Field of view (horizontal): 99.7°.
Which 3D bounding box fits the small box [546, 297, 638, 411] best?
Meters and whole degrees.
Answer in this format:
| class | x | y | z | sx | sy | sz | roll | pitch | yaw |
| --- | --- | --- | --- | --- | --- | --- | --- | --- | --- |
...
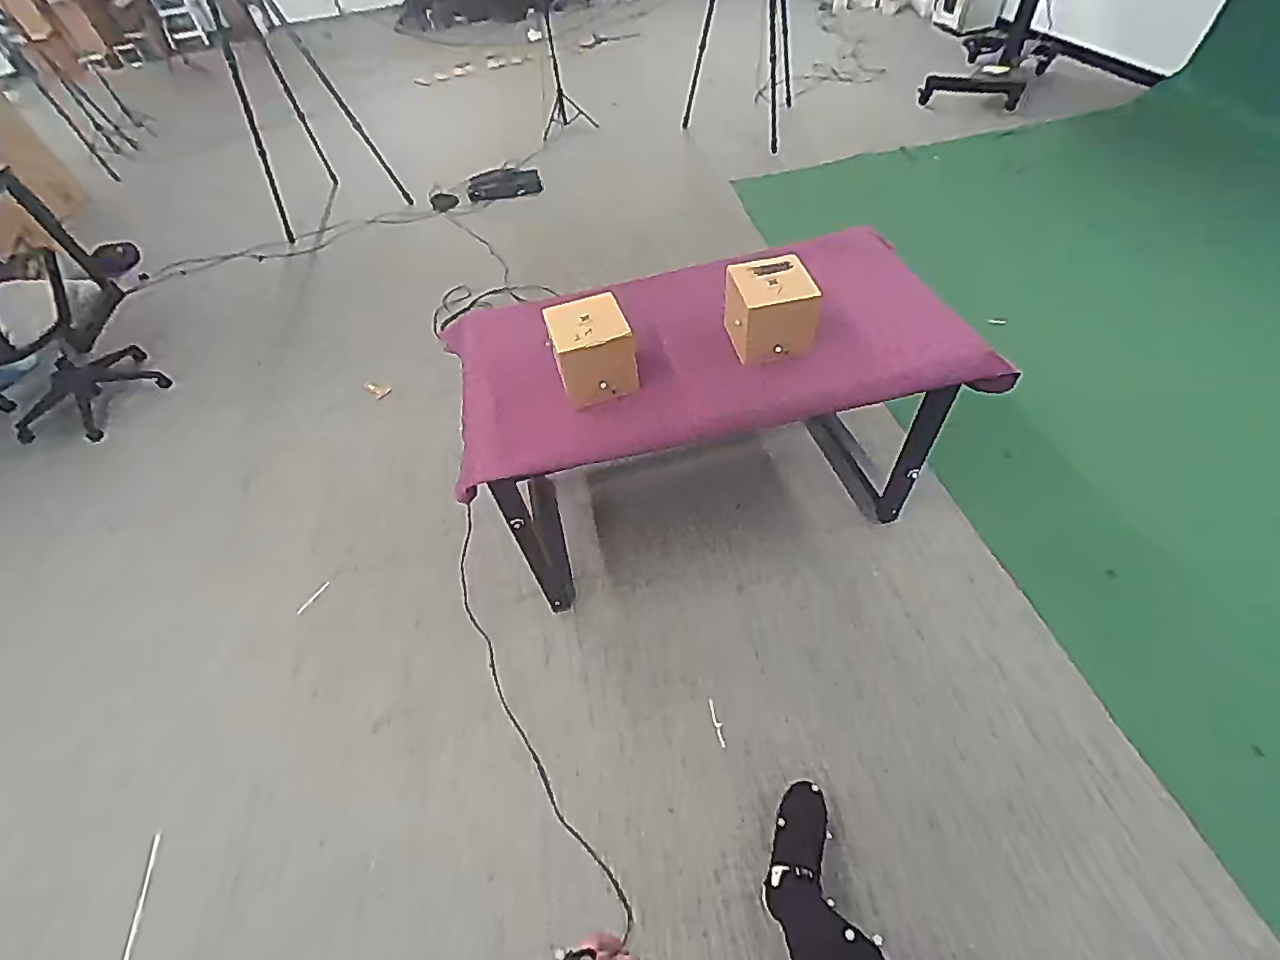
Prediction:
| class | x | y | z | sx | sy | sz | roll | pitch | yaw |
| --- | --- | --- | --- | --- | --- | --- | --- | --- | --- |
| small box | -0.108 | -0.288 | 1.244 | 0.168 | 0.176 | 0.179 | -17 | 51 | -6 |
